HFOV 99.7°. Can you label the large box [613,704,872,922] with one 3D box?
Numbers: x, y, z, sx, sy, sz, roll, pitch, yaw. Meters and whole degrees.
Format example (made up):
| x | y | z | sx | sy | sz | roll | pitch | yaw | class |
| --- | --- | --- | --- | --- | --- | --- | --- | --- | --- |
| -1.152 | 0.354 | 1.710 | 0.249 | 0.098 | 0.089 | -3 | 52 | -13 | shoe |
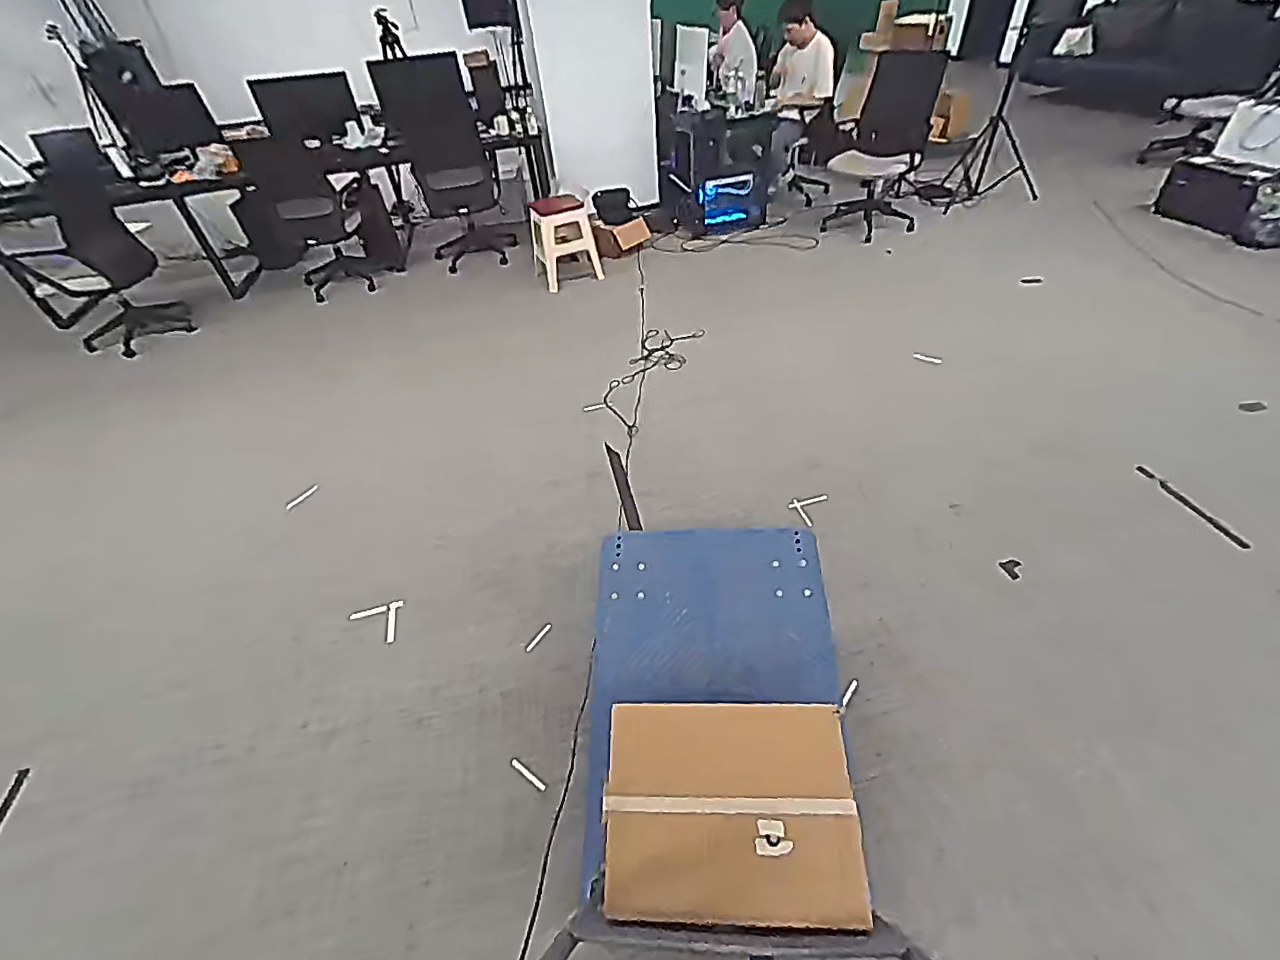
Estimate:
| x | y | z | sx | sy | sz | roll | pitch | yaw | class |
| --- | --- | --- | --- | --- | --- | --- | --- | --- | --- |
| 0.166 | 0.620 | 1.031 | 0.408 | 0.320 | 0.320 | -2 | 59 | 5 | large box |
